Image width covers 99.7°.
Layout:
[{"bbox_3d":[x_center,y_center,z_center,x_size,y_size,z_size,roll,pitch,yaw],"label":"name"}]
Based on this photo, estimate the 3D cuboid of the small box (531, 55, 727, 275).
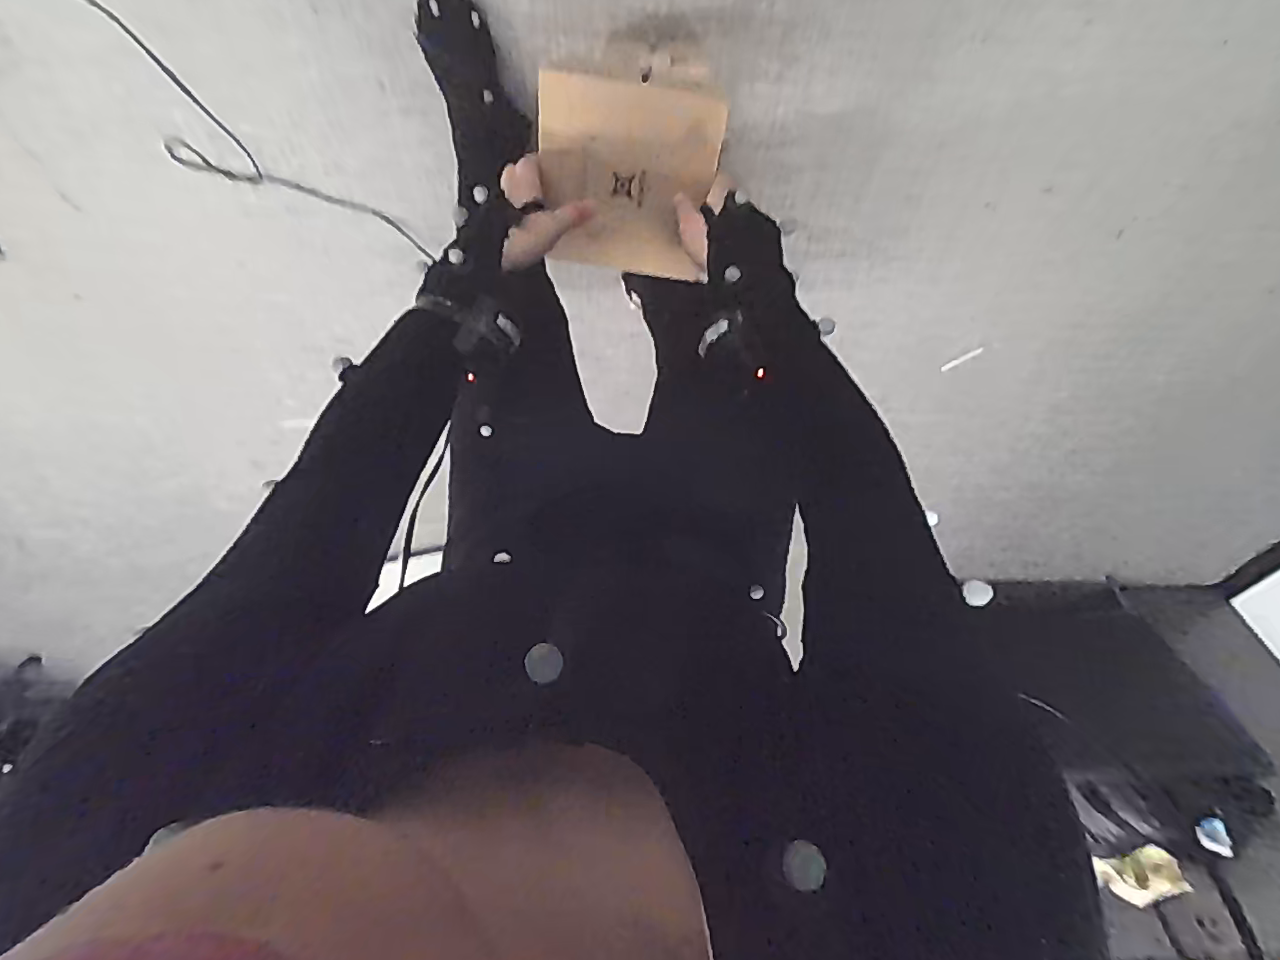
[{"bbox_3d":[-0.015,-0.342,0.584,0.179,0.176,0.168,8,130,-3],"label":"small box"}]
